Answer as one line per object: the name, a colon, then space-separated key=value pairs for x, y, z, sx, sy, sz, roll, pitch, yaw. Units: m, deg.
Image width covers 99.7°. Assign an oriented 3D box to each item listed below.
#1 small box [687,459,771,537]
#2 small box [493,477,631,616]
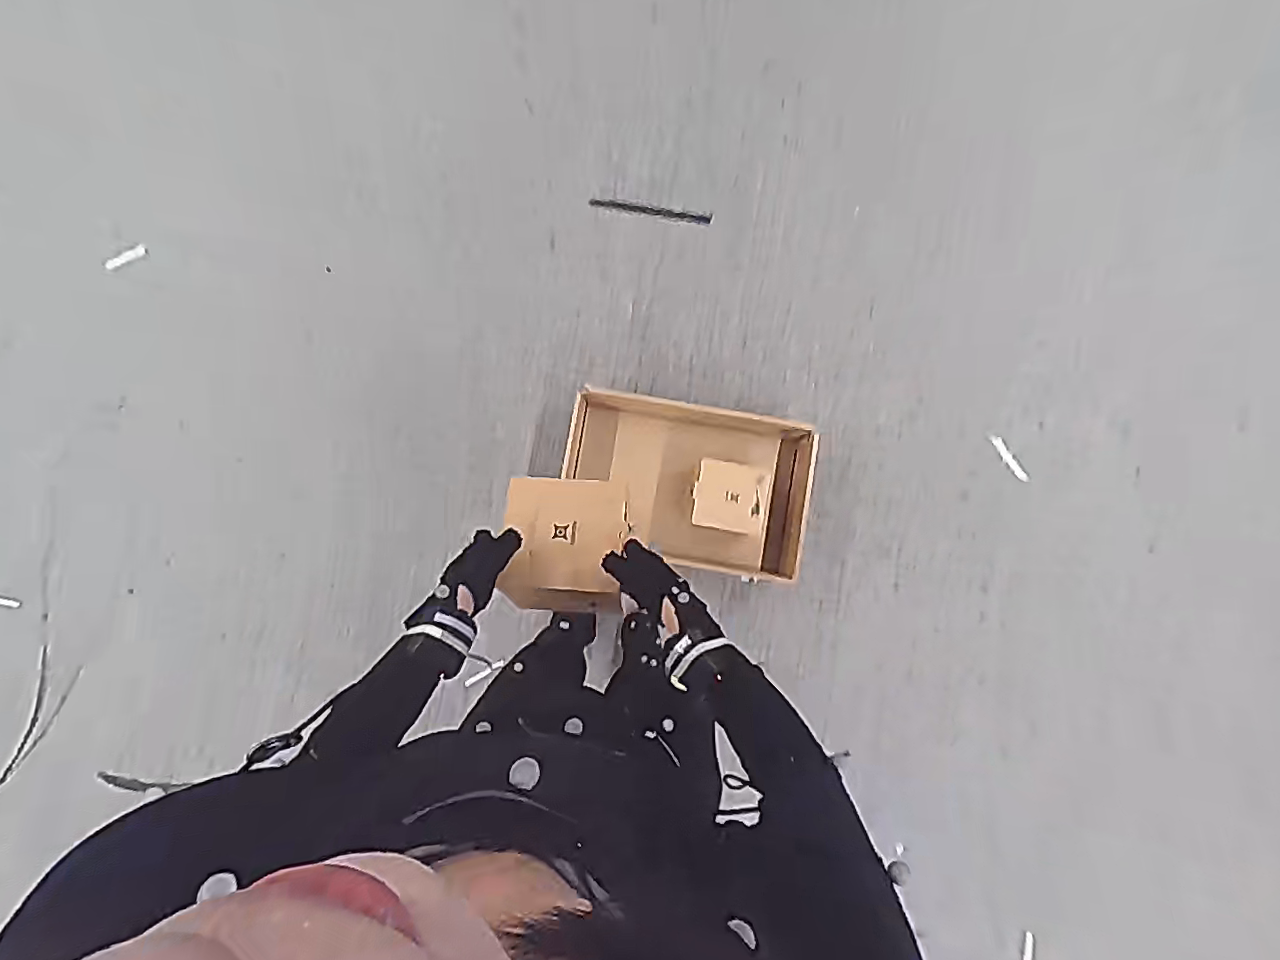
small box: x=0.221 y=0.051 z=1.394 sx=0.179 sy=0.176 sz=0.168 roll=10 pitch=86 yaw=2
small box: x=-0.104 y=0.107 z=0.820 sx=0.179 sy=0.176 sz=0.168 roll=2 pitch=64 yaw=2
